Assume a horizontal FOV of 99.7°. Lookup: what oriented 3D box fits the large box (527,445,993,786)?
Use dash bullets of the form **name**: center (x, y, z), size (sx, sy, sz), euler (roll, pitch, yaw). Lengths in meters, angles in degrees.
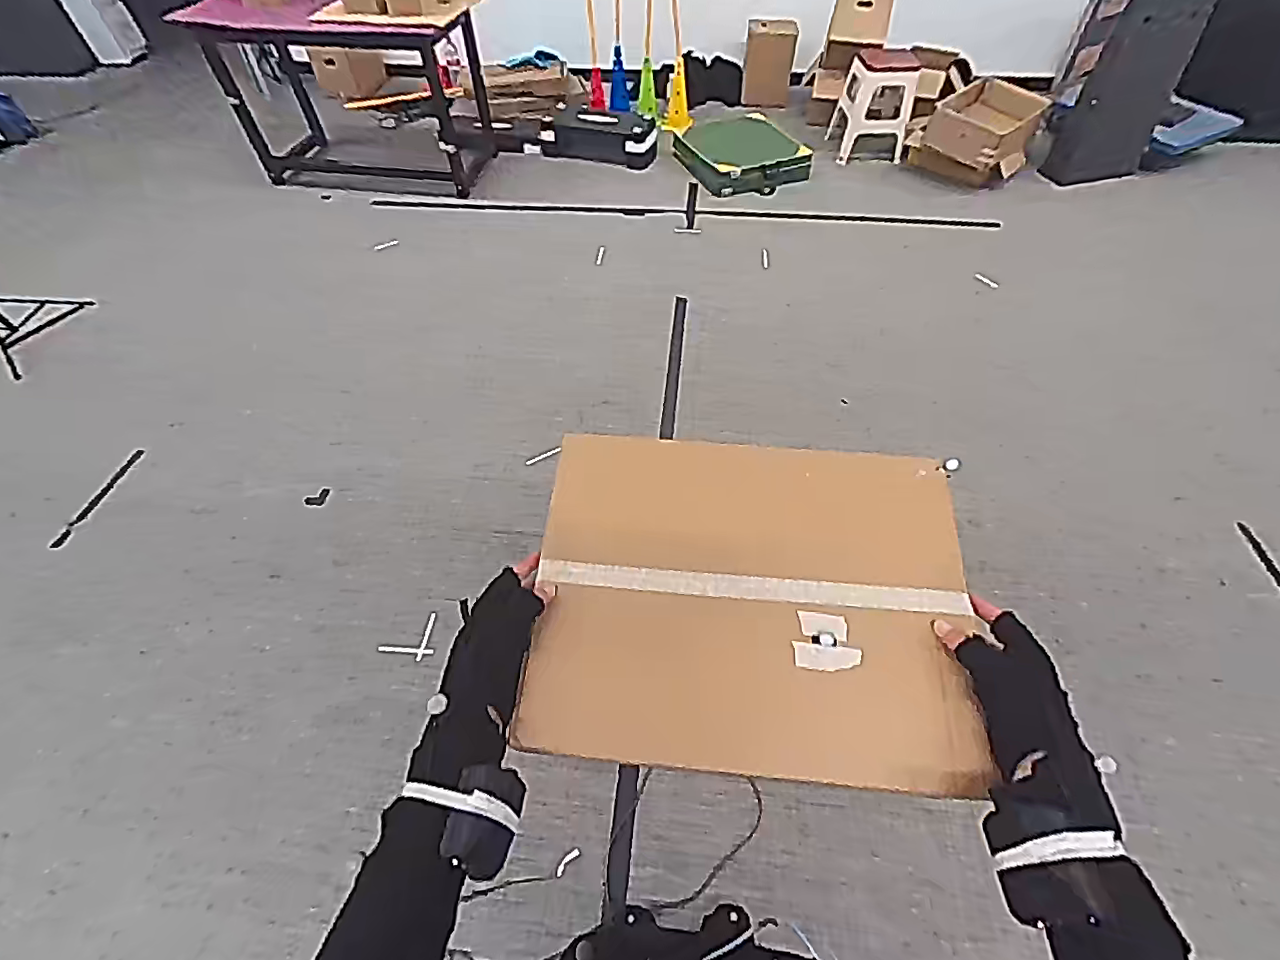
- **large box**: center (0.111, 0.176, 0.657), size (0.408, 0.320, 0.320), euler (4, 63, 4)
